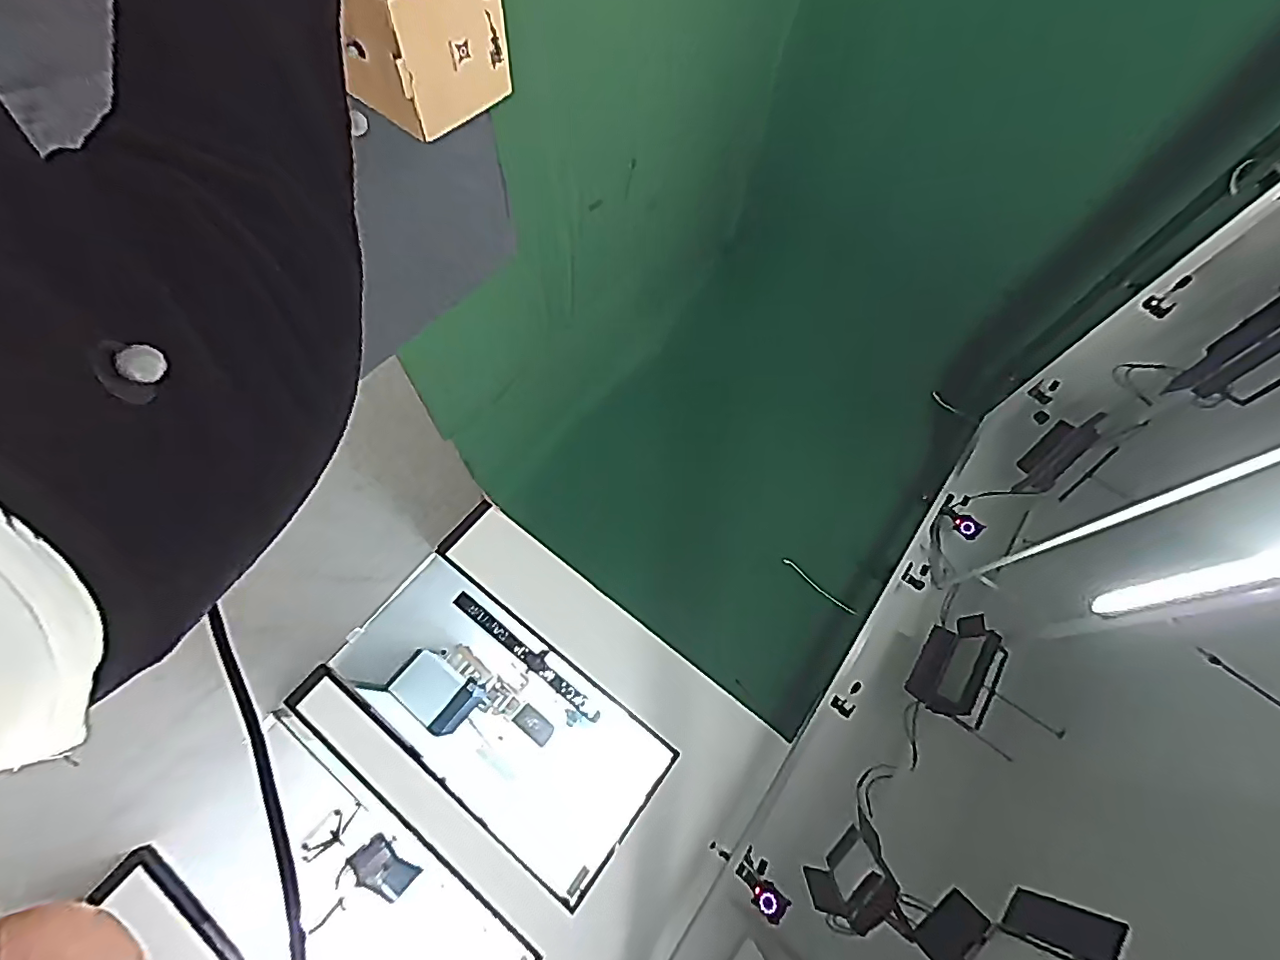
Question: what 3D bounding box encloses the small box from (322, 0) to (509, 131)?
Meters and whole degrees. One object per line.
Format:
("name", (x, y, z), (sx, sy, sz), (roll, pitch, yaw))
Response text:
("small box", (-0.305, -0.620, 0.726), (0.179, 0.176, 0.168), (-46, 168, -24))
